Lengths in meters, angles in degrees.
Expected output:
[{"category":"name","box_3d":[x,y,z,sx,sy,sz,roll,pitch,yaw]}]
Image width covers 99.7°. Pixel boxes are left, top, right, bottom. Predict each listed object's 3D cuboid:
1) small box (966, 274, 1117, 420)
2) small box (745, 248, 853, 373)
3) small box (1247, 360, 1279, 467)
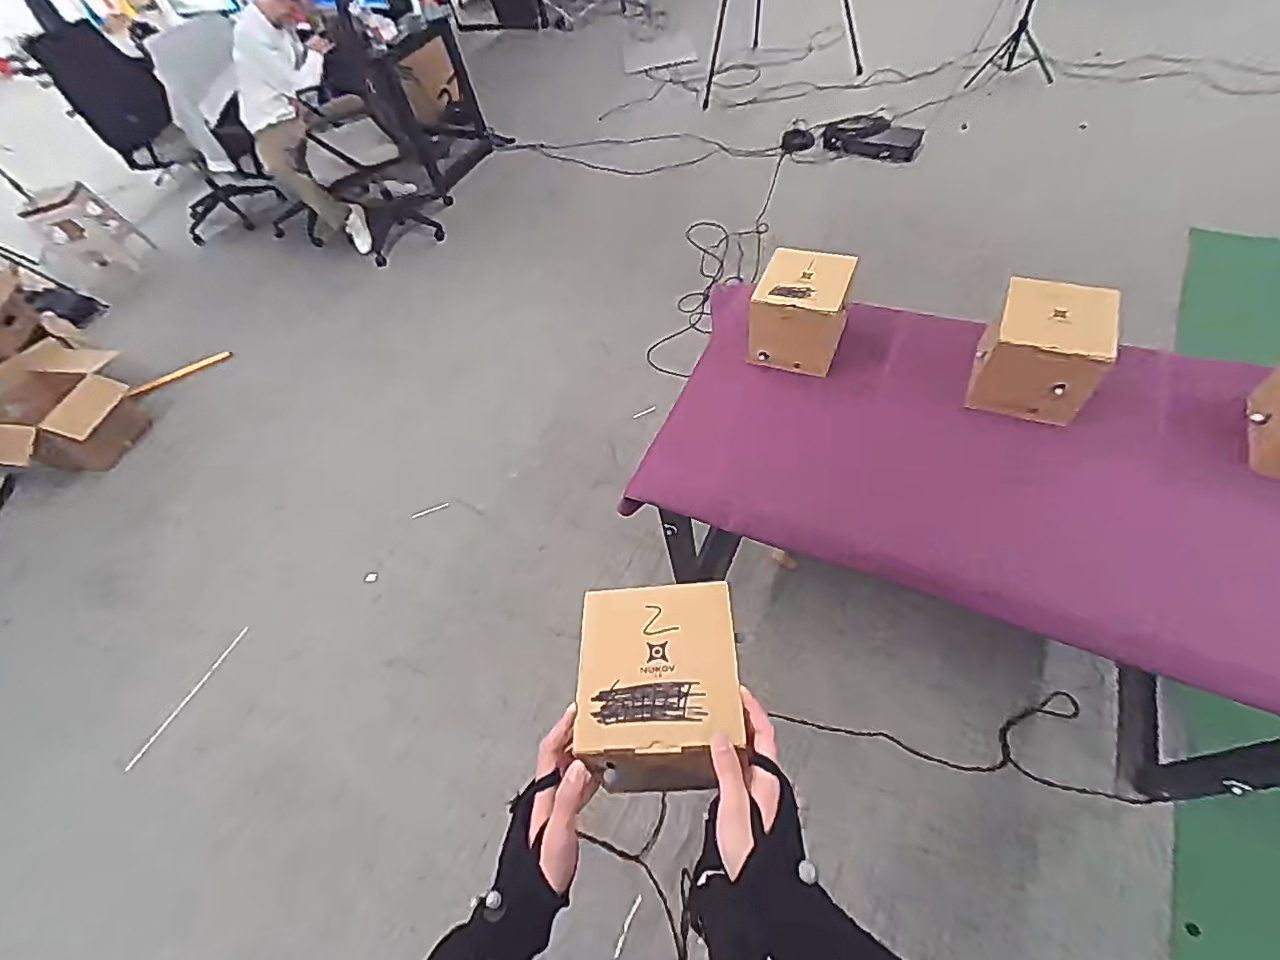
[{"category":"small box","box_3d":[0.704,-0.233,0.963,0.168,0.176,0.179,17,61,21]},{"category":"small box","box_3d":[0.324,-0.346,1.113,0.168,0.176,0.179,16,60,20]},{"category":"small box","box_3d":[1.066,-0.109,0.801,0.168,0.176,0.179,18,62,22]}]
